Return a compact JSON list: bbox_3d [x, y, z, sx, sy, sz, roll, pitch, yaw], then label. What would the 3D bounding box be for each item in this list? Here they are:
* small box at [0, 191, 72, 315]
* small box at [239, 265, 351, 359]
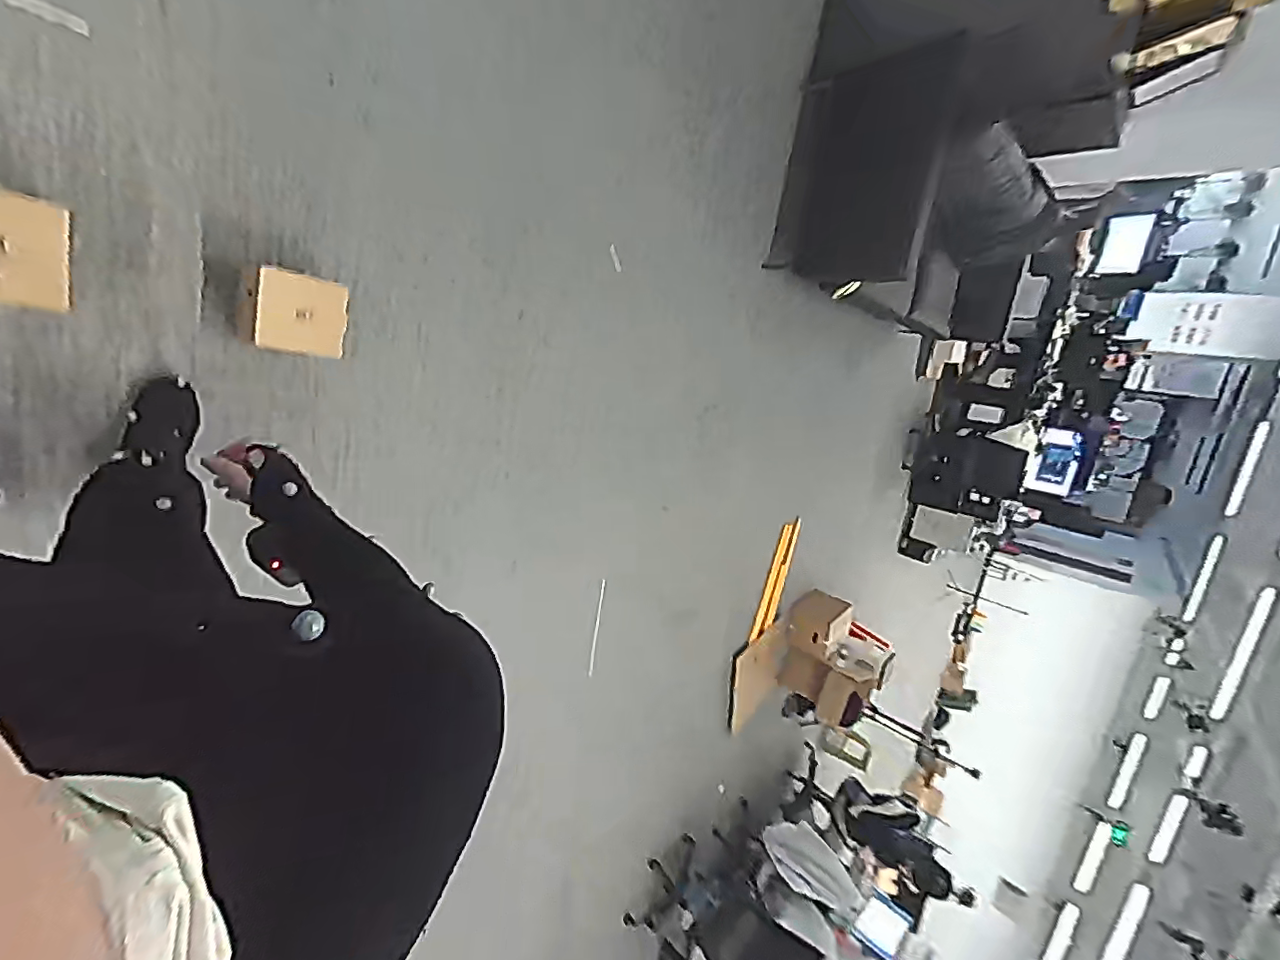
[{"bbox_3d":[-1.076,-0.386,0.905,0.168,0.176,0.179,0,104,-48],"label":"small box"},{"bbox_3d":[-0.789,-0.378,1.231,0.179,0.176,0.168,0,104,-49],"label":"small box"}]
